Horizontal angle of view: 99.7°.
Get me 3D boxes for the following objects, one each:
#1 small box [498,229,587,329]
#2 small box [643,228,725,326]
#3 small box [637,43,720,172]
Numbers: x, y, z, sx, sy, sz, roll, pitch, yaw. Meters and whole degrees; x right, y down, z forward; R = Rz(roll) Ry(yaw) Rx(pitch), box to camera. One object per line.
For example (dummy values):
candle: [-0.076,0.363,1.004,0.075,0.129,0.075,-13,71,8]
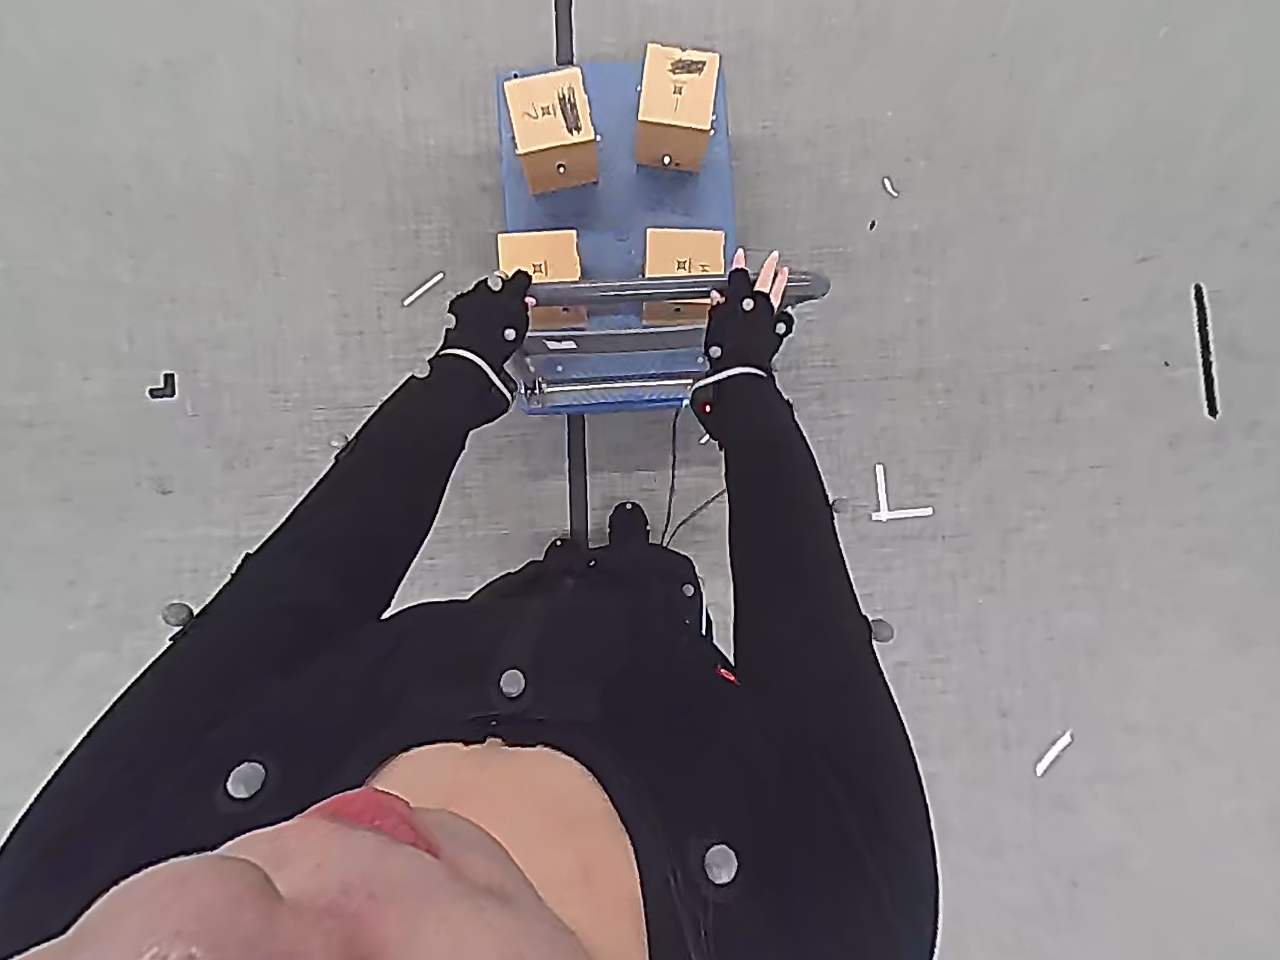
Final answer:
small box: [-0.221,-0.459,1.257,0.179,0.176,0.168,-5,89,-4]
small box: [0.097,-0.468,1.267,0.179,0.176,0.168,2,89,-2]
small box: [0.084,-0.870,1.275,0.168,0.176,0.179,7,89,-2]
